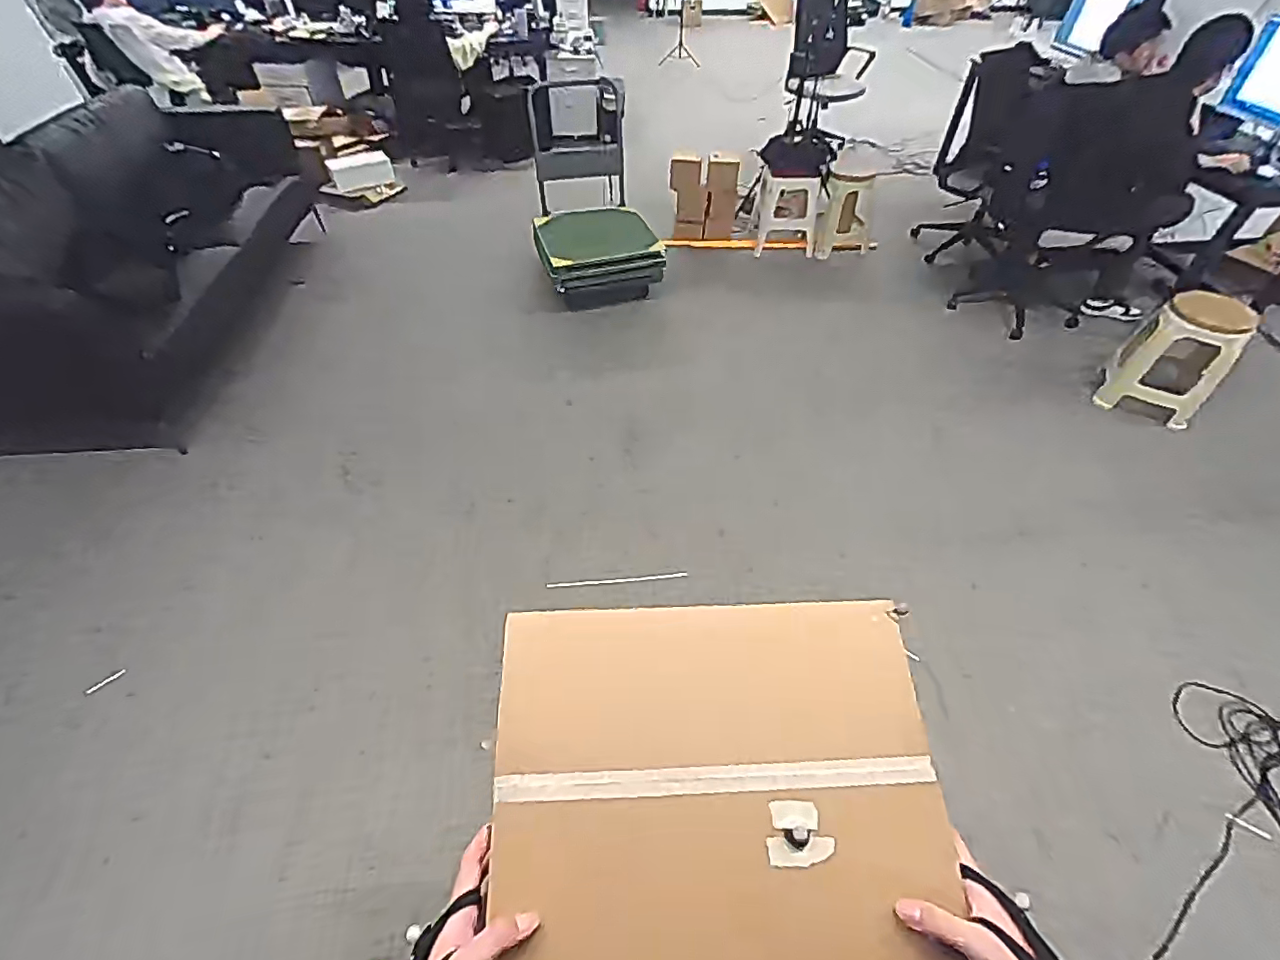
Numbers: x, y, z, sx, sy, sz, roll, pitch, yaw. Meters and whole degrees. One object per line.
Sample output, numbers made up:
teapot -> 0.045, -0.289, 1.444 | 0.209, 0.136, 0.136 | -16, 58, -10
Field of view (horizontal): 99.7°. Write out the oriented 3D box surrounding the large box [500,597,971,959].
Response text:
large box -> 0.069, 0.336, 0.641 | 0.408, 0.320, 0.320 | -2, 66, -2
